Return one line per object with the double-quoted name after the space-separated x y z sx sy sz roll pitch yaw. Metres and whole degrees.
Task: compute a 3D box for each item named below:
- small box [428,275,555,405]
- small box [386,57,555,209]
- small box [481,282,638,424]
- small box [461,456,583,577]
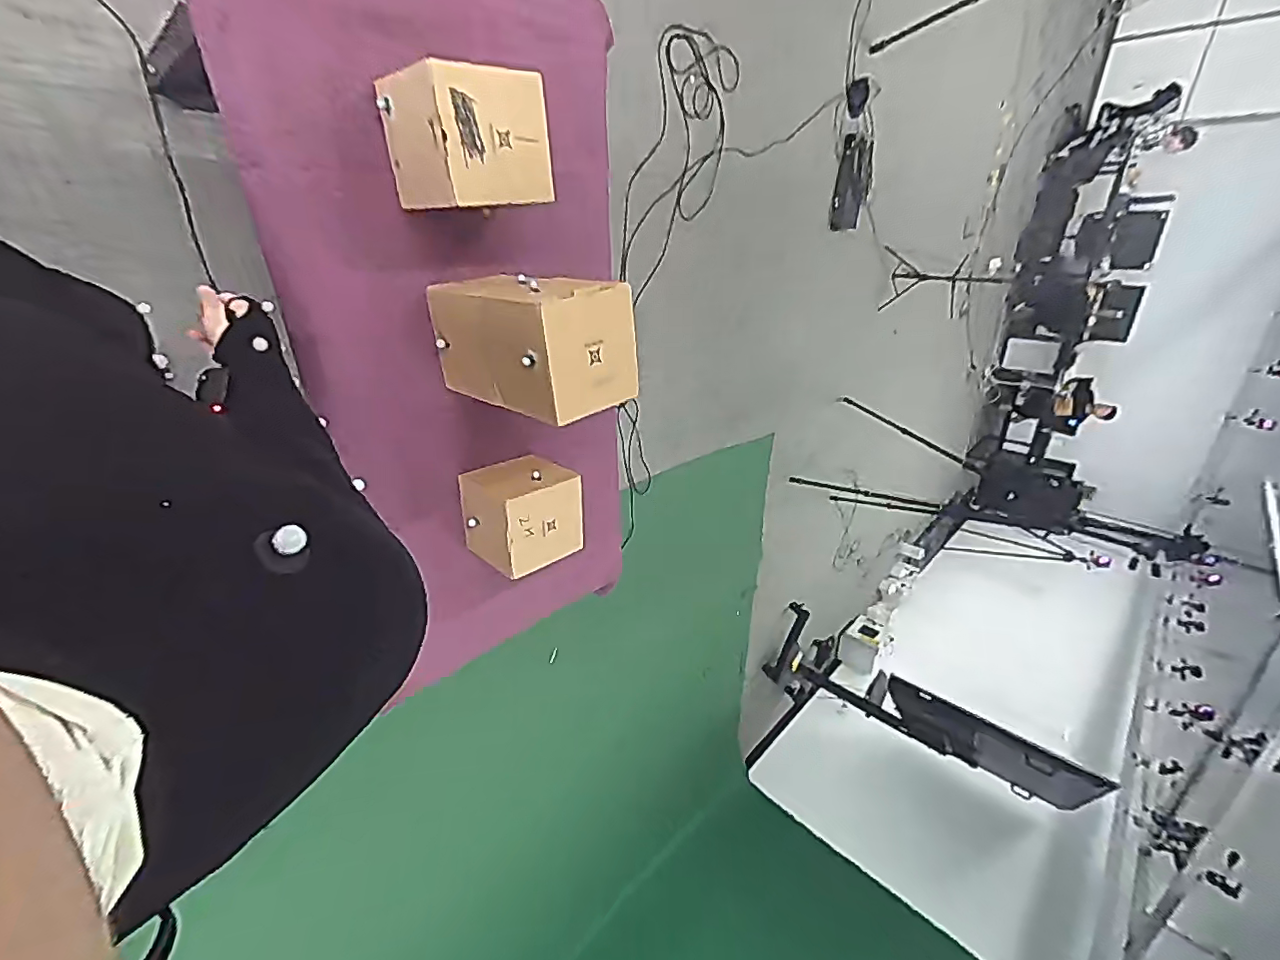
-0.240 -0.250 0.937 0.168 0.176 0.179 -28 126 -38 "small box"
-0.254 -0.500 0.805 0.179 0.176 0.168 -28 126 -39 "small box"
-0.123 -0.205 0.831 0.168 0.176 0.179 -27 125 -37 "small box"
-0.234 0.063 1.083 0.179 0.176 0.168 -21 121 -42 "small box"
